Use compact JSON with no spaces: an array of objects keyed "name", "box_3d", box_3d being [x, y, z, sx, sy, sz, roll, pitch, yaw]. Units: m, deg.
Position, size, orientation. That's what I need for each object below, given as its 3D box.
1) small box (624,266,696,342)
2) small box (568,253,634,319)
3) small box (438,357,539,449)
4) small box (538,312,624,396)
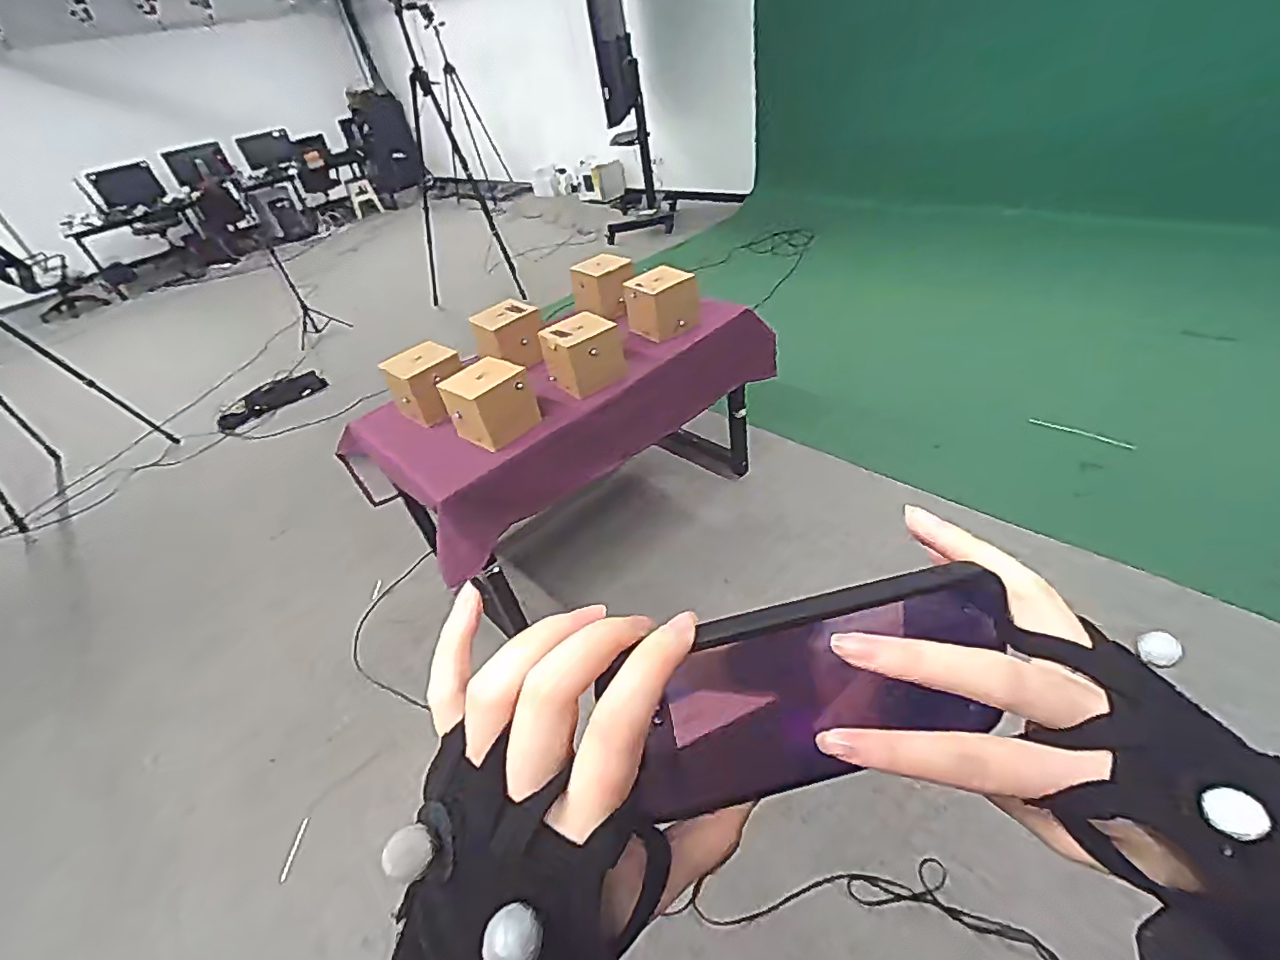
[{"name":"small box","box_3d":[0.070,-0.579,1.778,0.179,0.176,0.168,-31,43,-23]},{"name":"small box","box_3d":[-0.135,-0.708,1.978,0.168,0.176,0.179,-35,46,-25]},{"name":"small box","box_3d":[-0.398,-0.206,1.451,0.168,0.176,0.179,23,49,35]},{"name":"small box","box_3d":[-0.167,-0.369,1.586,0.179,0.176,0.168,-32,44,-24]}]
